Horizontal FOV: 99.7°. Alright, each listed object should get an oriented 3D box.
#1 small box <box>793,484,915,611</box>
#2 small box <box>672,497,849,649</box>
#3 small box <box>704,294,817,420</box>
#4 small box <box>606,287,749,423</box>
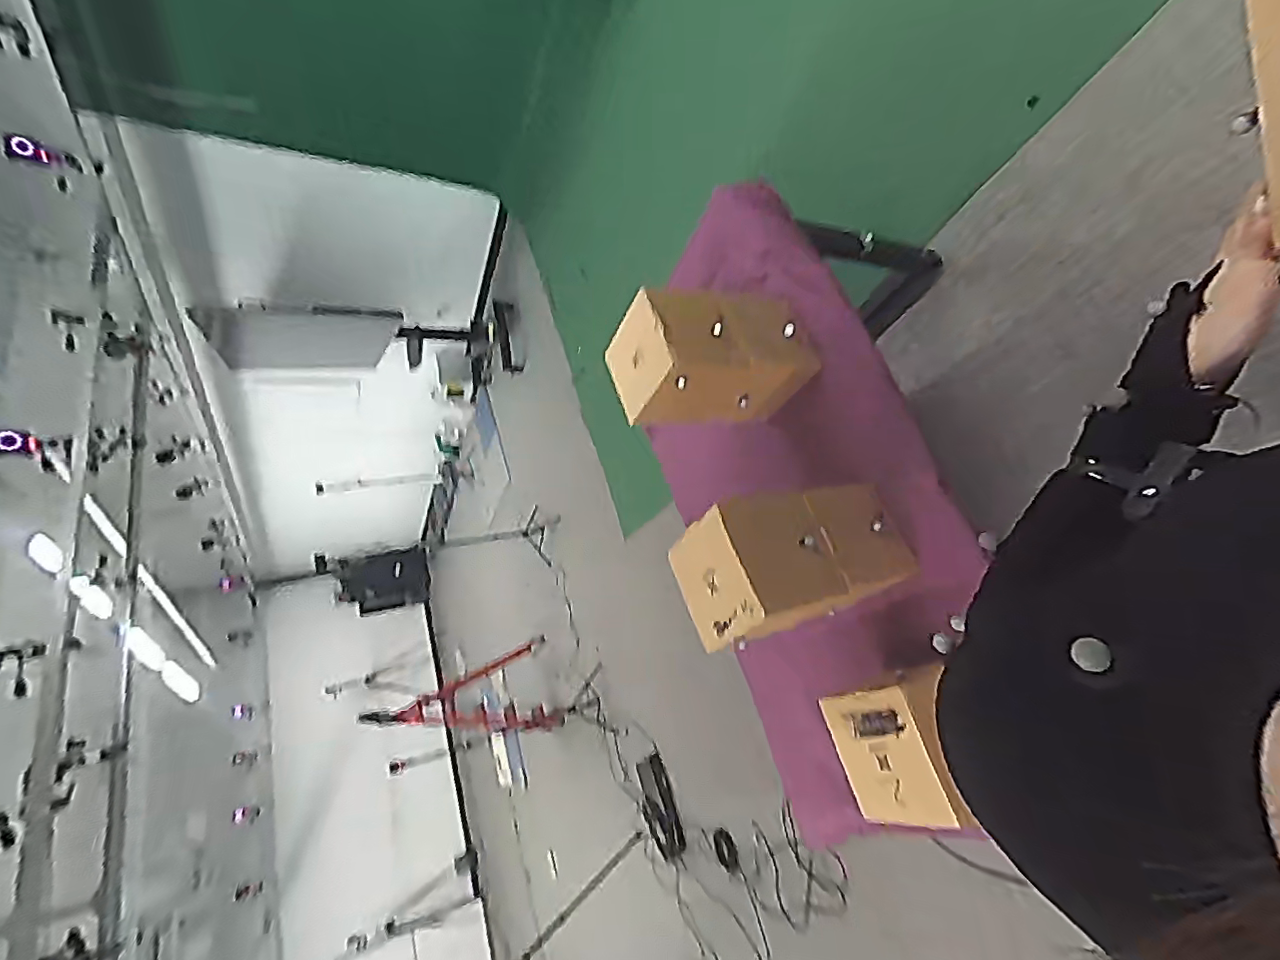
[{"bbox_3d":[0.318,0.123,0.919,0.179,0.176,0.168,-53,51,50],"label":"small box"},{"bbox_3d":[0.180,0.137,0.834,0.168,0.176,0.179,-55,49,50],"label":"small box"},{"bbox_3d":[0.205,-0.233,1.051,0.179,0.176,0.168,-50,53,50],"label":"small box"},{"bbox_3d":[0.064,-0.217,0.972,0.179,0.176,0.168,-51,53,49],"label":"small box"}]
